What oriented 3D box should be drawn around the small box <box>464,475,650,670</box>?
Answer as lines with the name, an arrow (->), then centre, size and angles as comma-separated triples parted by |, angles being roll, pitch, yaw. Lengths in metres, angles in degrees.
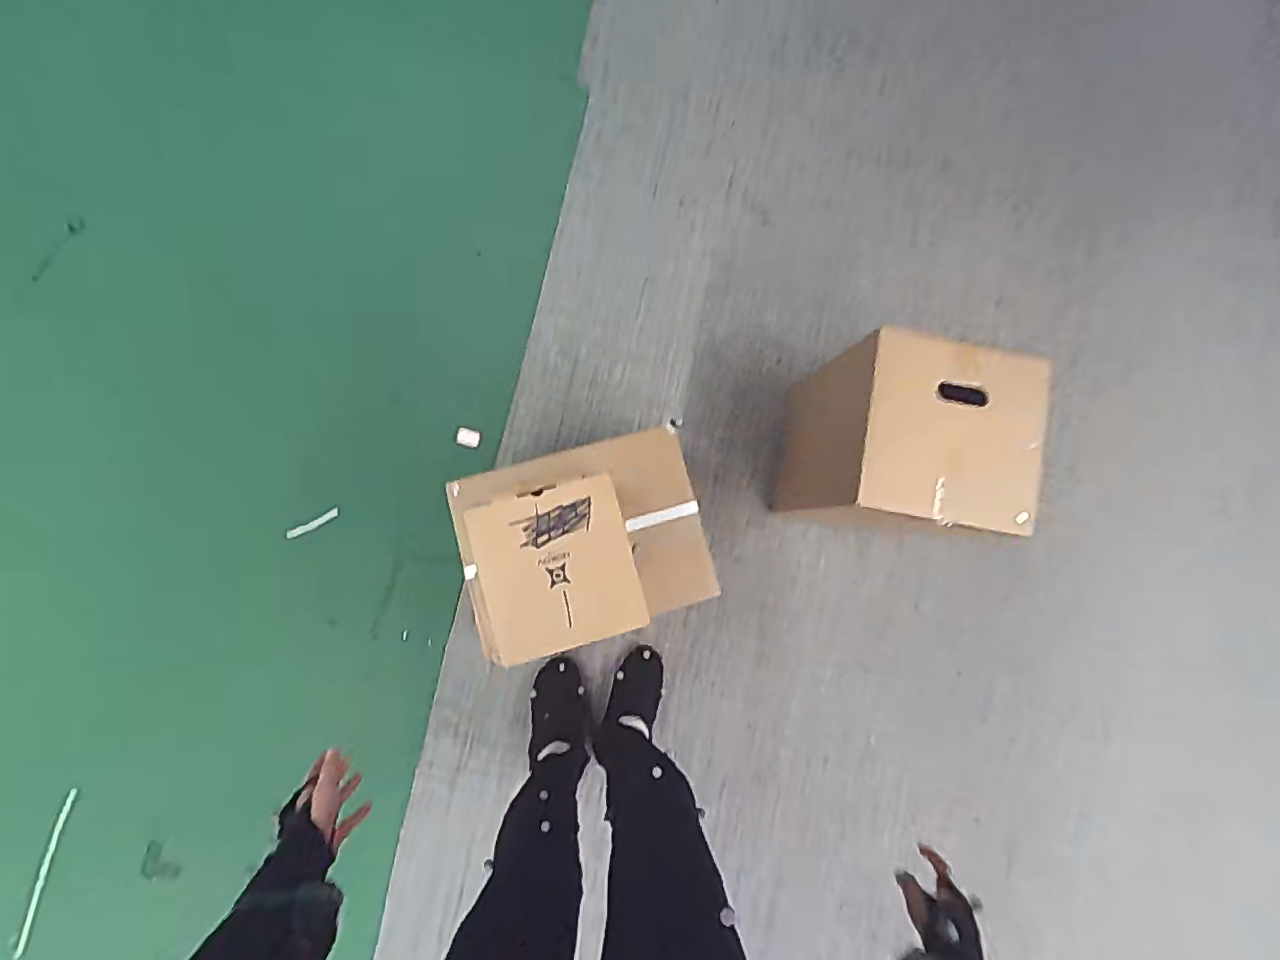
small box -> -0.095, 0.104, 0.655 | 0.168, 0.176, 0.179 | -15, 87, -5
